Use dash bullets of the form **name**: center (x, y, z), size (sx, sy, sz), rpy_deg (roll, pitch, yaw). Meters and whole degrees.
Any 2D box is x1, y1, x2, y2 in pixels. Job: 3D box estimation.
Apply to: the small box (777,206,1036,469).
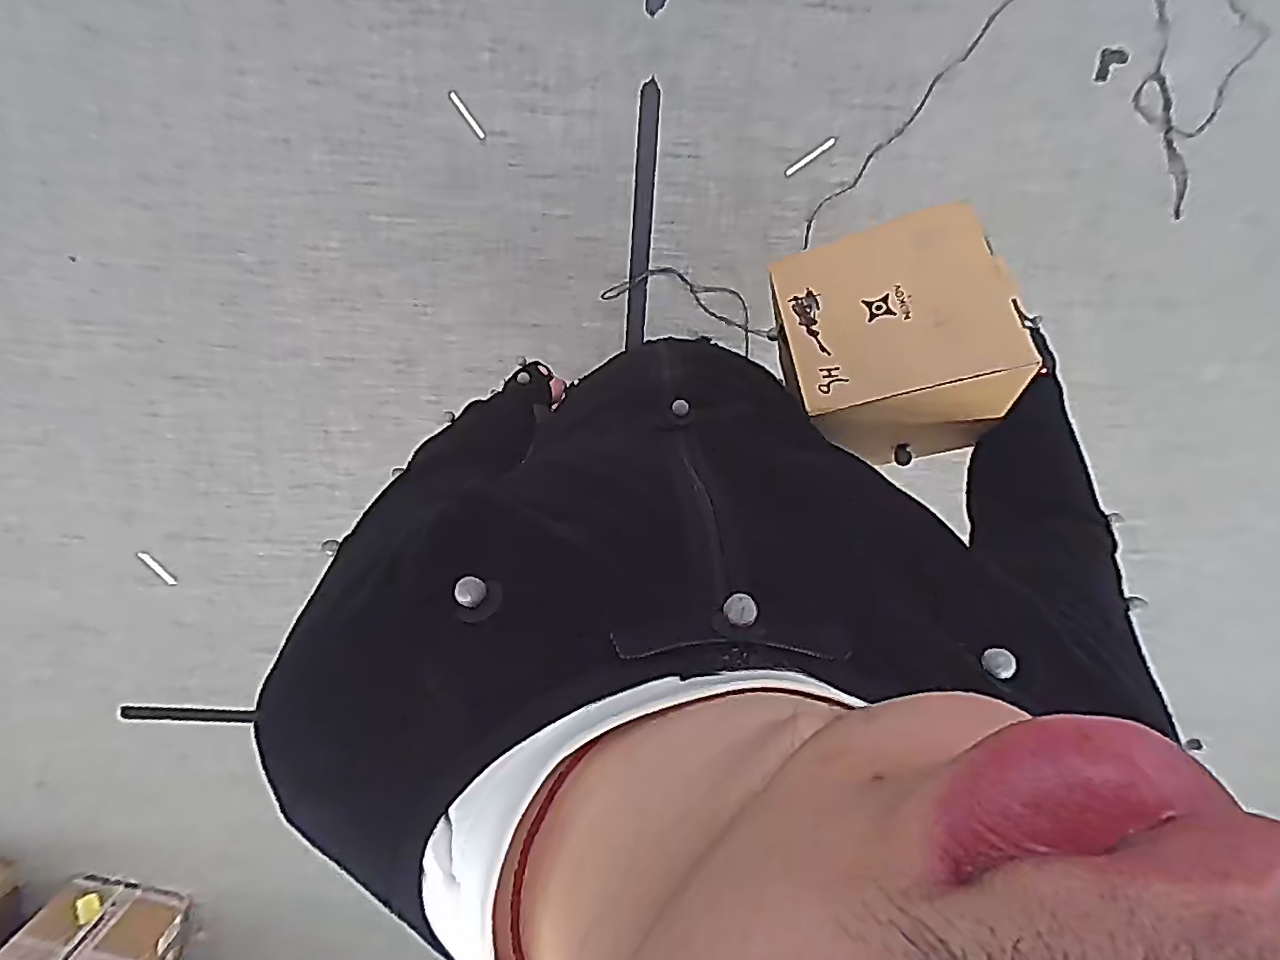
- **small box**: center (0.243, -0.126, 0.542), size (0.179, 0.176, 0.168), rpy_deg (-13, 68, 14)
